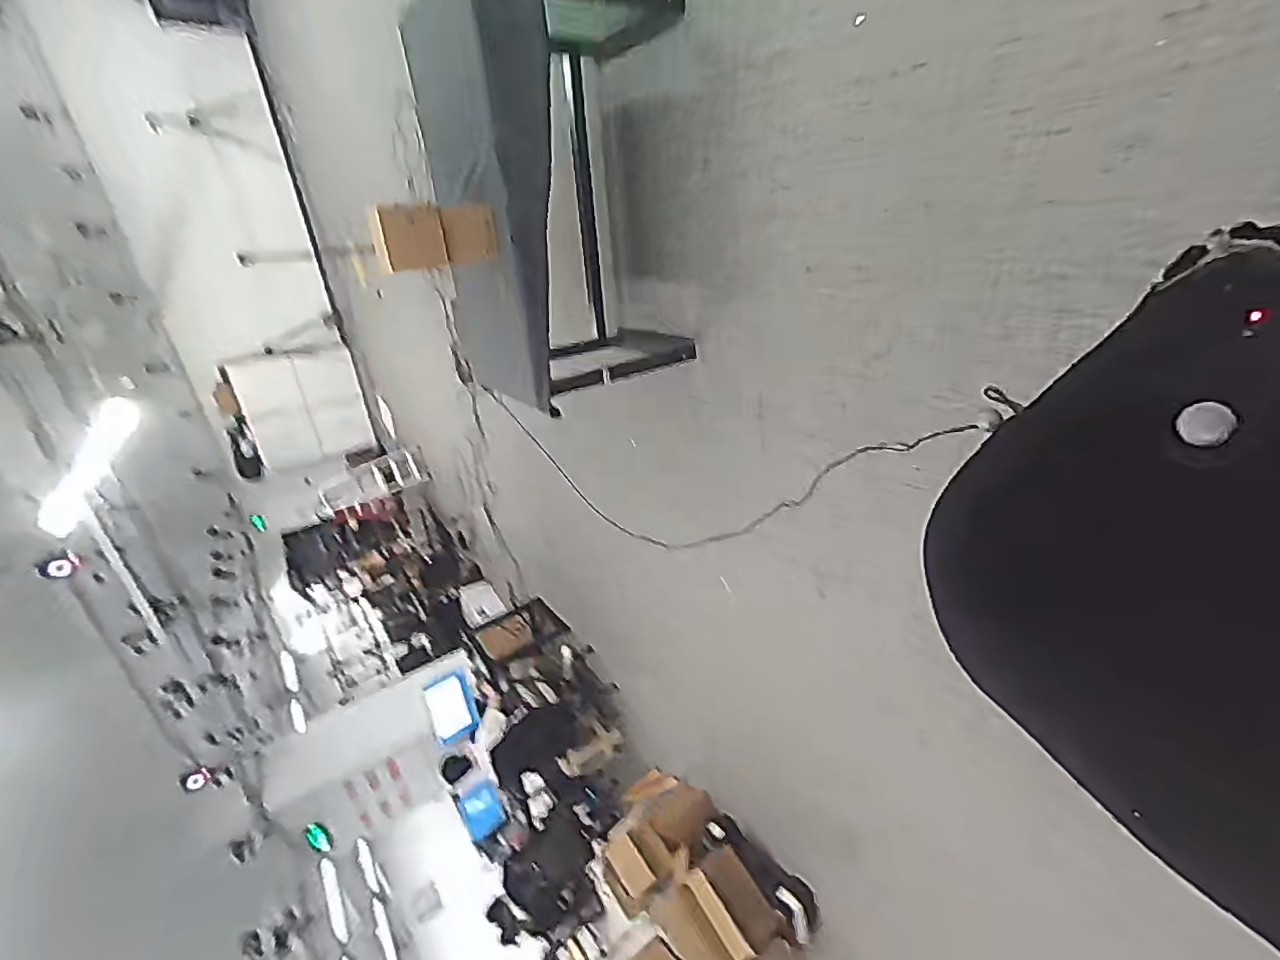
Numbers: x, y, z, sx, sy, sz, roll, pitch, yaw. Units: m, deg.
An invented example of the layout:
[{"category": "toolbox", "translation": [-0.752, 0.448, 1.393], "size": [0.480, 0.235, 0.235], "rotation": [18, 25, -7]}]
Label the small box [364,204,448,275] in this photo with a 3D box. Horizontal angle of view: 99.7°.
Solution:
[{"category": "small box", "translation": [-0.688, -0.707, 1.594], "size": [0.168, 0.176, 0.179], "rotation": [23, 125, 52]}]

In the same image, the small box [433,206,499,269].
[{"category": "small box", "translation": [-0.555, -0.765, 1.700], "size": [0.179, 0.176, 0.168], "rotation": [30, 132, 48]}]
